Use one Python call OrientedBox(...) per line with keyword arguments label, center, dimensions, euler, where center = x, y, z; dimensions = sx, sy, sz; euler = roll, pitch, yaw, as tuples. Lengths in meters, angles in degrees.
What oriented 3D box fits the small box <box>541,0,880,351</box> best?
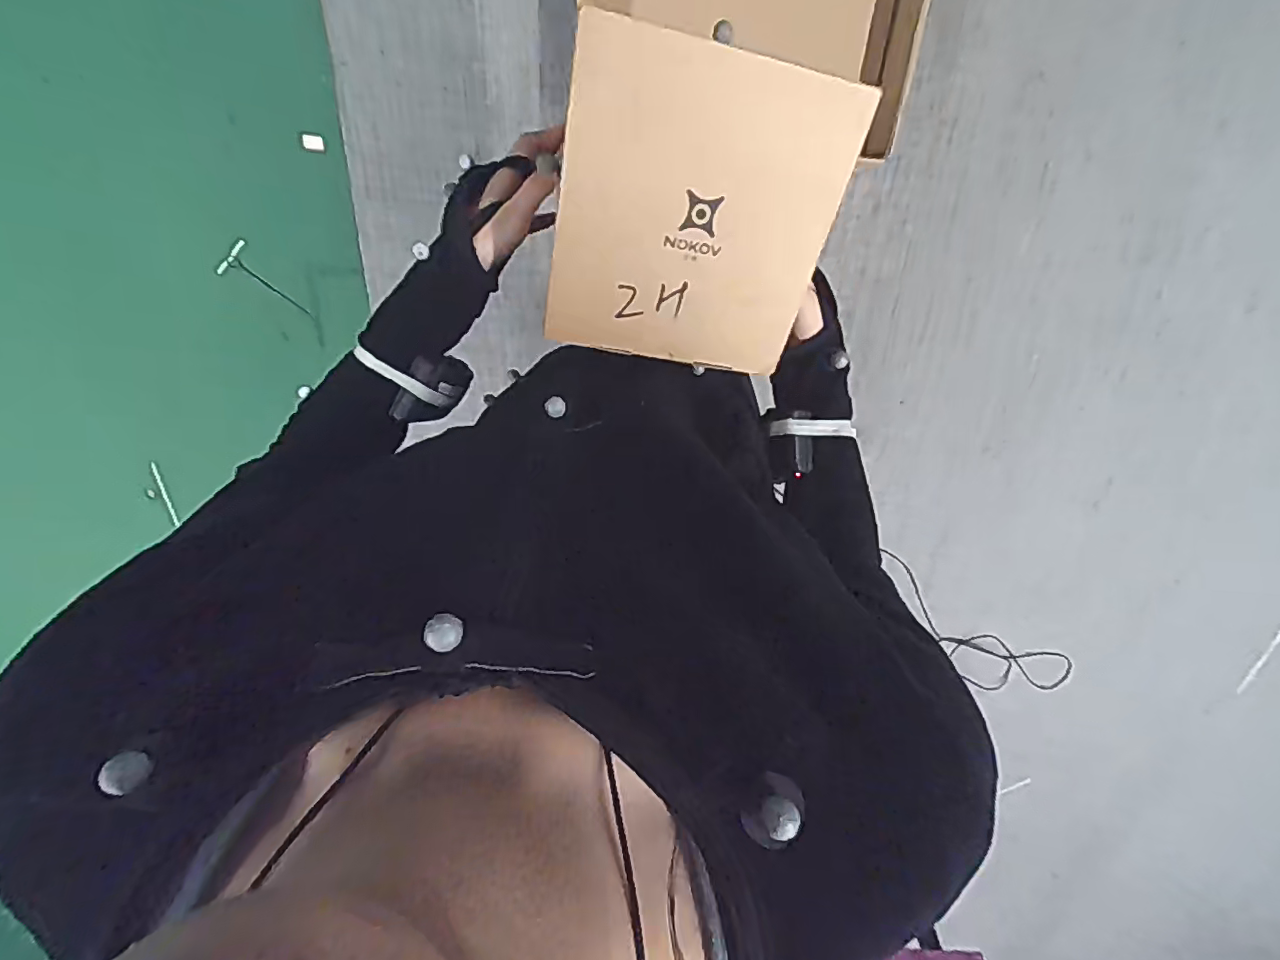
OrientedBox(label="small box", center=(0.026, -0.218, 0.382), dimensions=(0.168, 0.176, 0.179), euler=(8, 127, -11))
